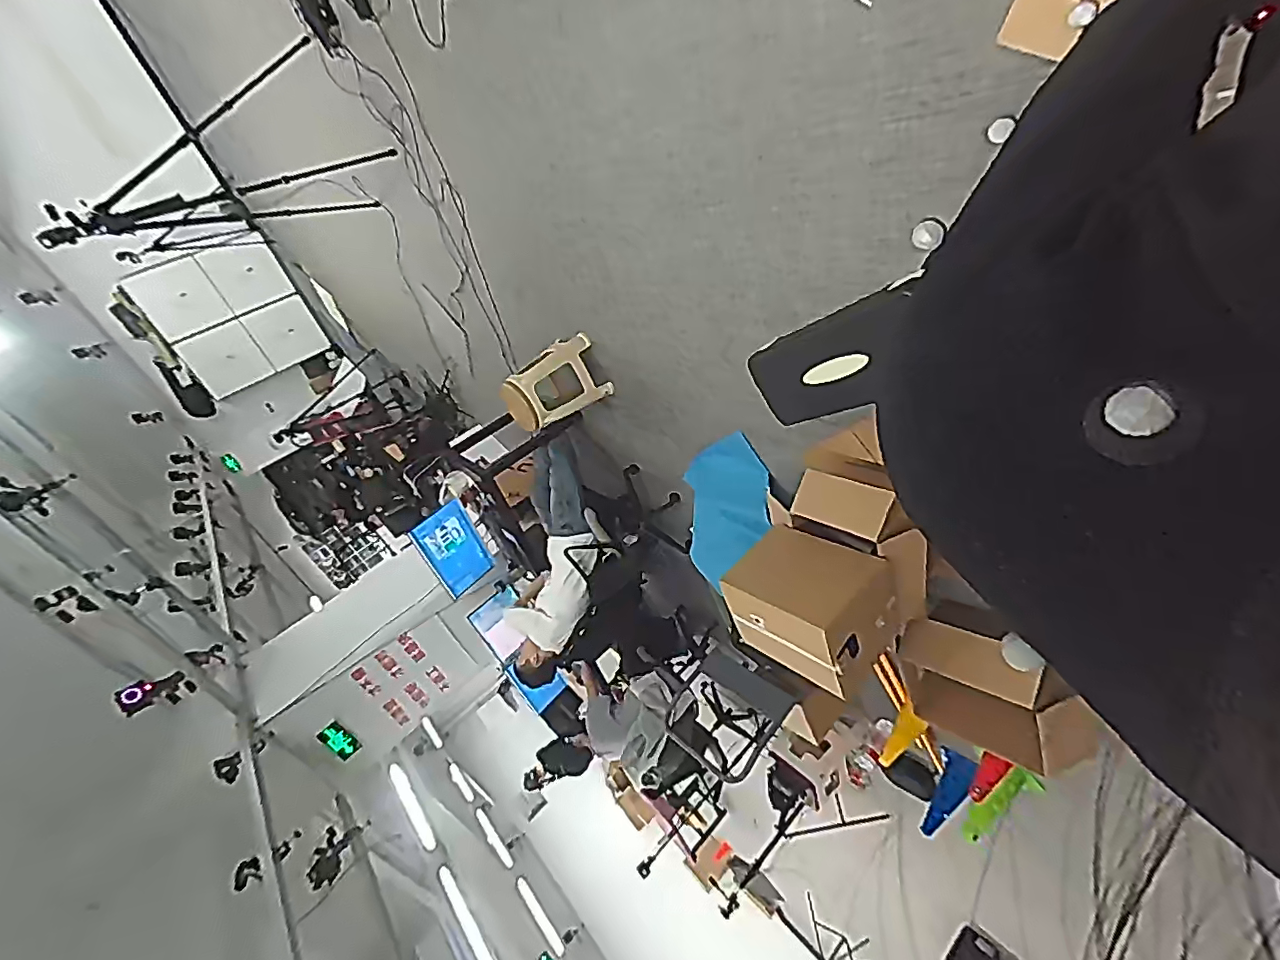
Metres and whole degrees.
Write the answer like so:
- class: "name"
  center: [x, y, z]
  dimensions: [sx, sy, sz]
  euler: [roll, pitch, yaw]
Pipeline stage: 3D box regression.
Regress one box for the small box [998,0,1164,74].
- class: "small box"
  center: [0.704, -0.764, 0.821]
  dimensions: [0.168, 0.176, 0.179]
  euler: [41, 152, 23]
